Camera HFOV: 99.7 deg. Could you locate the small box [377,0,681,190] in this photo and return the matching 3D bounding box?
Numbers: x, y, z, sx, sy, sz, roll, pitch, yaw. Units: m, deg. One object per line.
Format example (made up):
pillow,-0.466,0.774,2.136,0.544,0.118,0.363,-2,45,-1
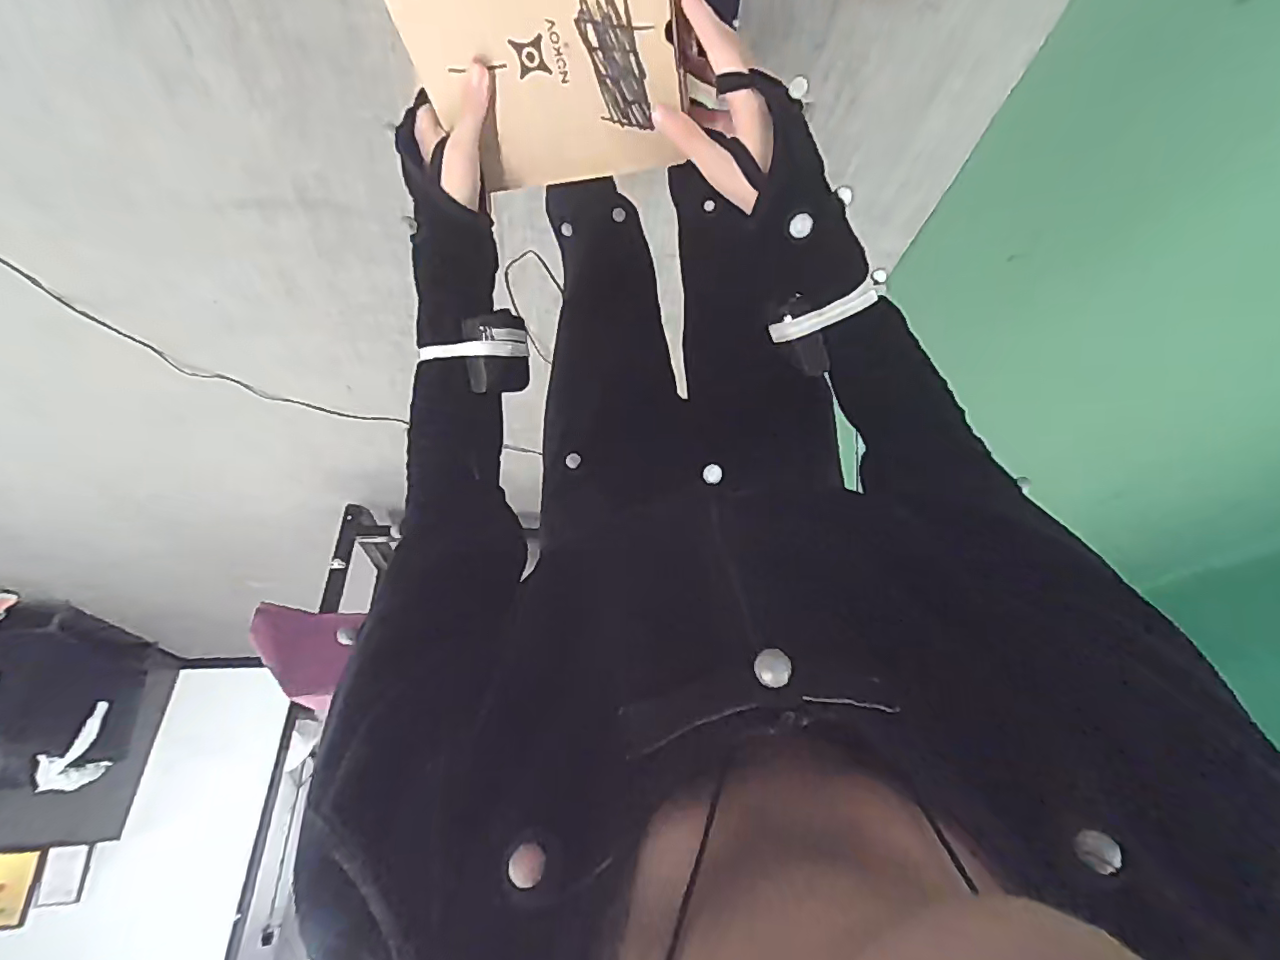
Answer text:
small box,-0.064,-0.346,0.390,0.179,0.176,0.168,-1,151,11
